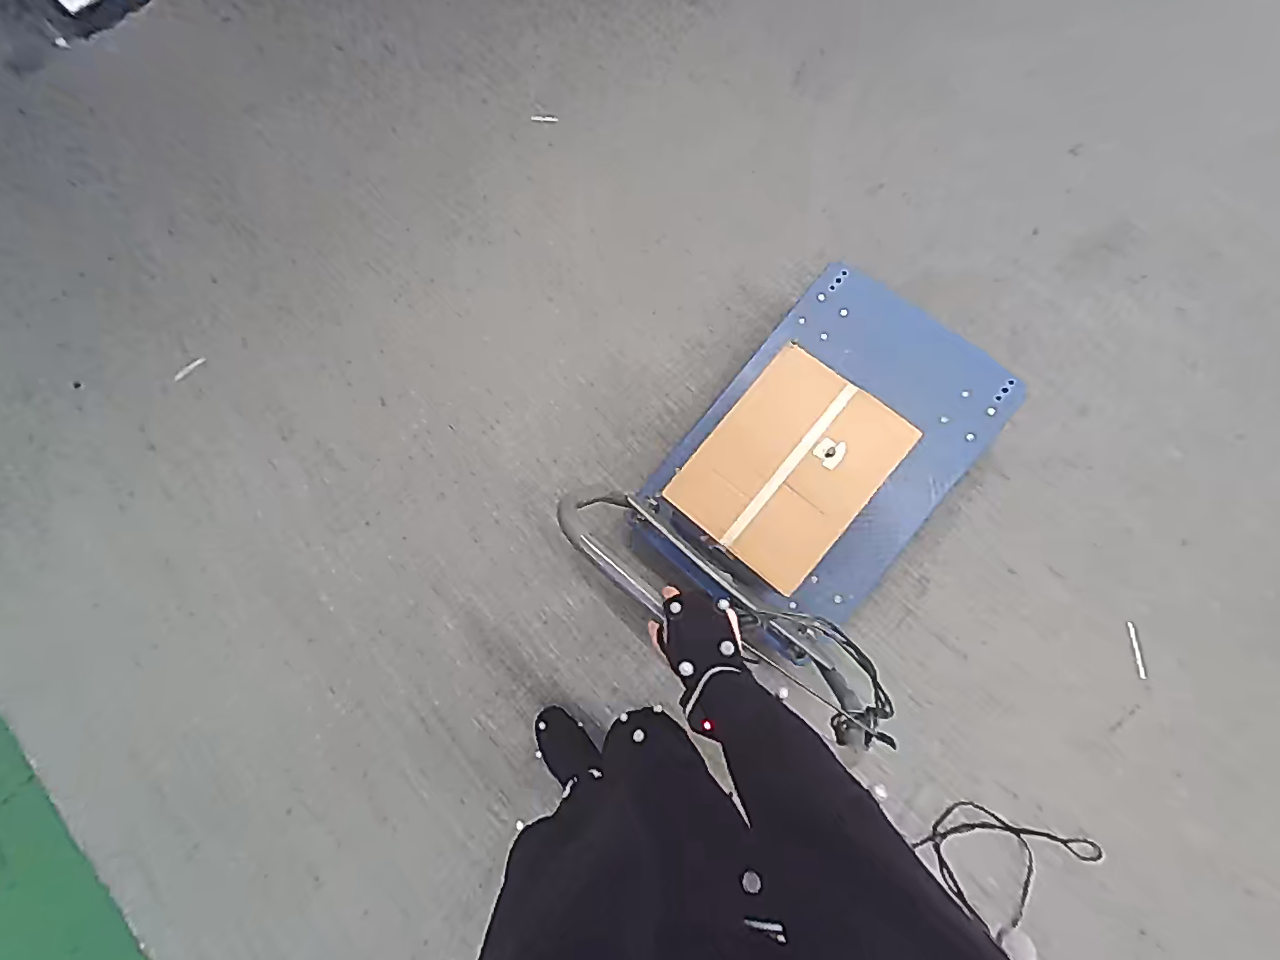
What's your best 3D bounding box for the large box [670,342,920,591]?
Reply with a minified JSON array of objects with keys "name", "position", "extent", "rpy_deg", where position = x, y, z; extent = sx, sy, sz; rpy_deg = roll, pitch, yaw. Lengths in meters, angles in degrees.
[{"name":"large box","position":[0.315,-0.008,1.189],"extent":[0.320,0.320,0.408],"rpy_deg":[40,88,12]}]
